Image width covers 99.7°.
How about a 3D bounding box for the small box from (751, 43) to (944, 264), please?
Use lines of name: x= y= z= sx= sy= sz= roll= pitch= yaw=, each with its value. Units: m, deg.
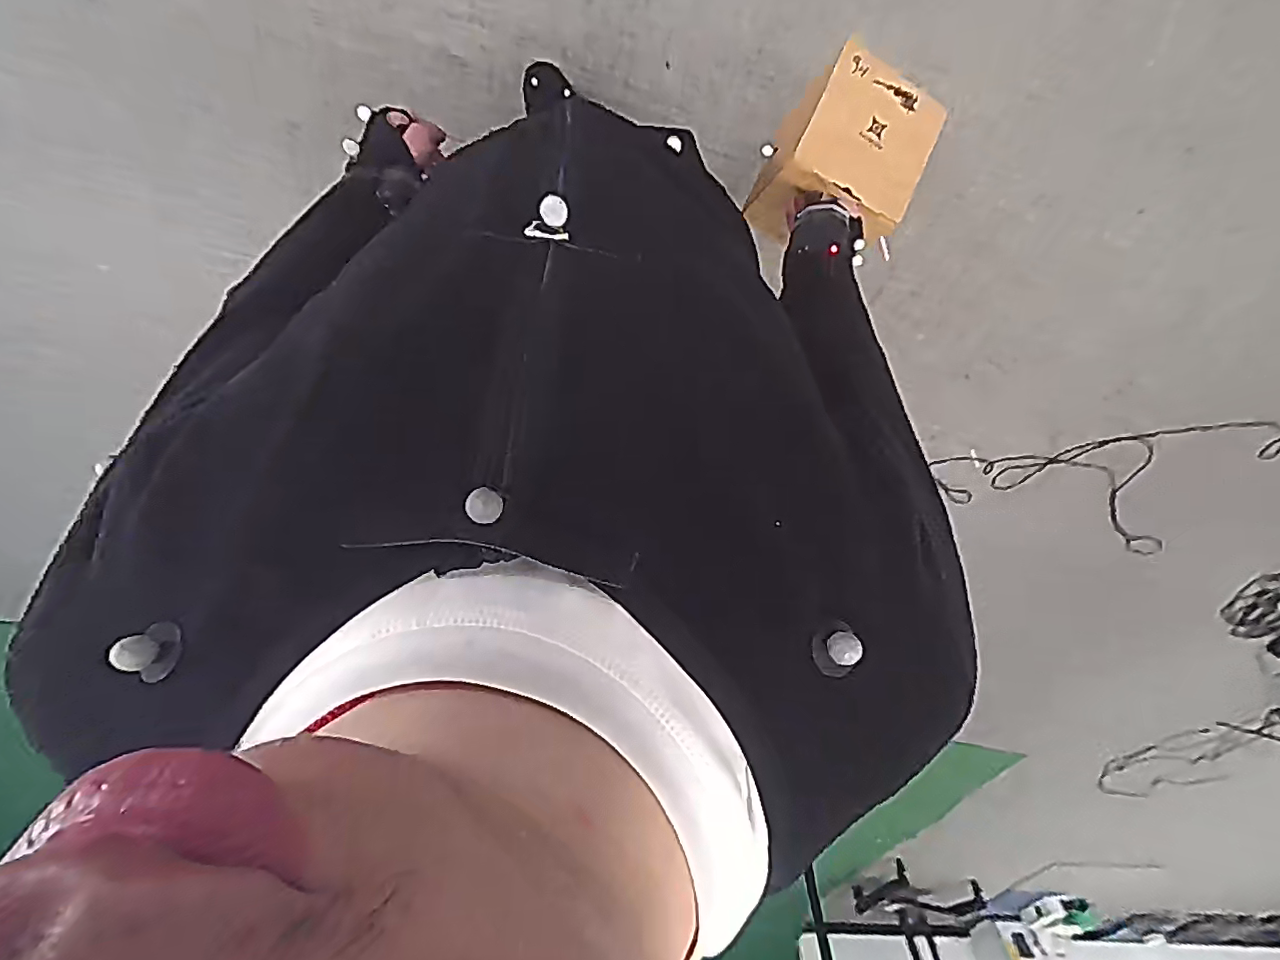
small box: x=0.277 y=-0.440 z=0.765 sx=0.168 sy=0.176 sz=0.179 roll=23 pitch=87 yaw=-9
